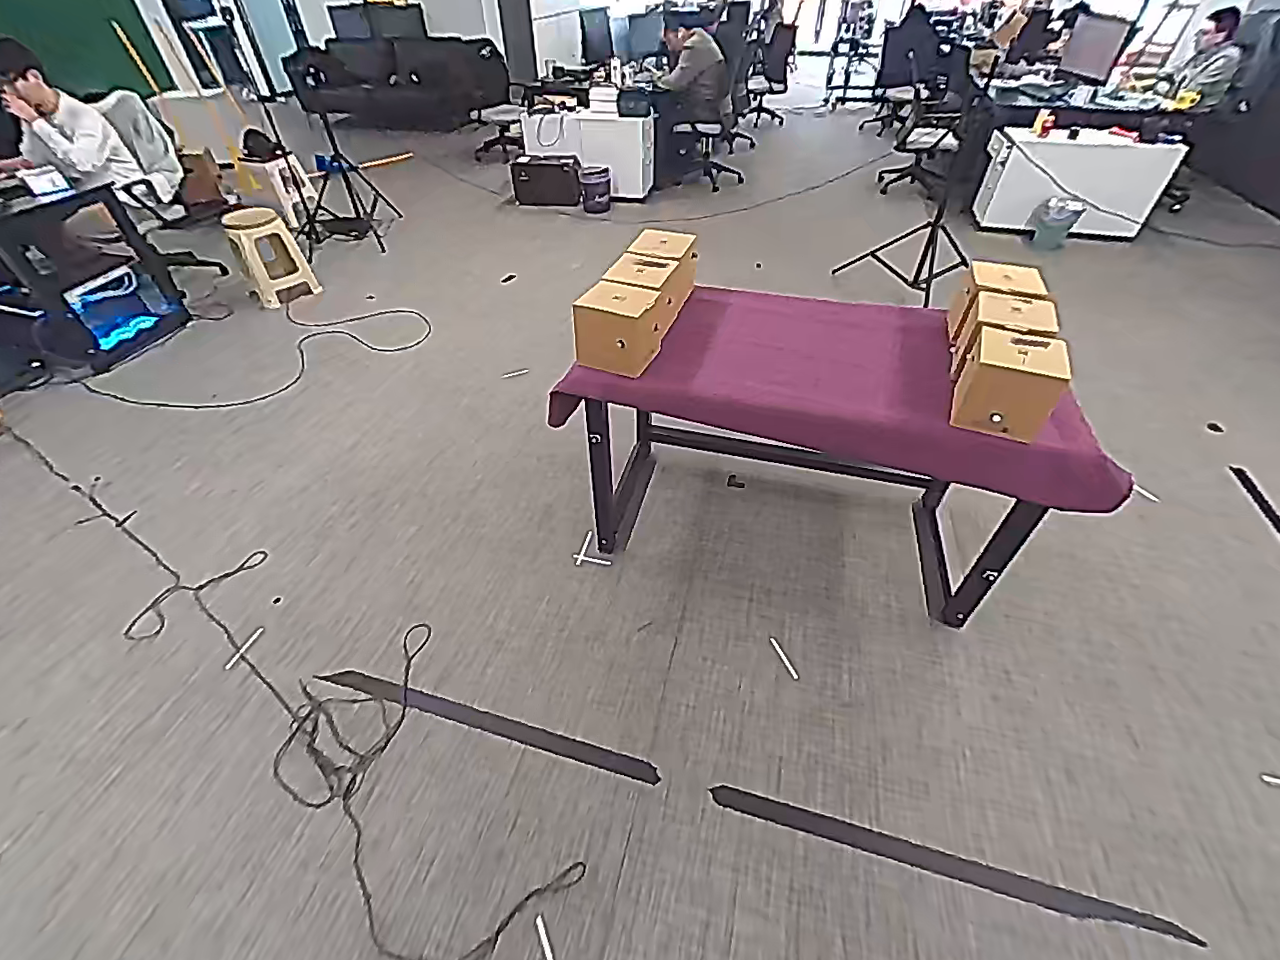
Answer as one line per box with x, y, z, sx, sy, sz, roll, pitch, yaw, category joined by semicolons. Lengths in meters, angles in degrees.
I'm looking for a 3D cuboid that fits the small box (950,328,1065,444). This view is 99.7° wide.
0.814;-0.211;1.206;0.168;0.176;0.179;18;50;22;small box

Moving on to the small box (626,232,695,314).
0.063;-0.631;1.648;0.168;0.176;0.179;14;47;14;small box

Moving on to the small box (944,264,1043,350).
0.947;-0.461;1.468;0.168;0.176;0.179;14;45;14;small box
